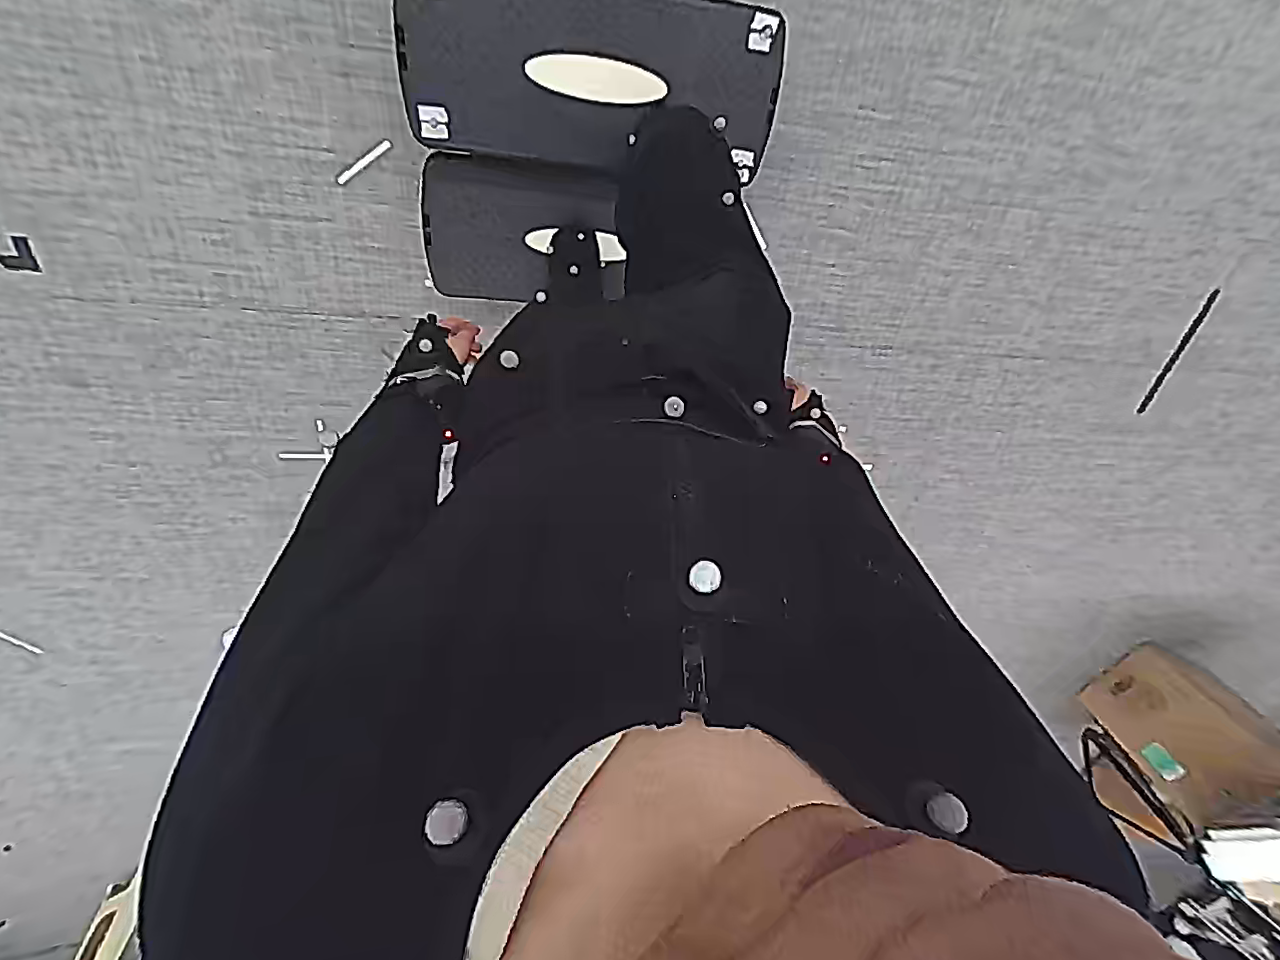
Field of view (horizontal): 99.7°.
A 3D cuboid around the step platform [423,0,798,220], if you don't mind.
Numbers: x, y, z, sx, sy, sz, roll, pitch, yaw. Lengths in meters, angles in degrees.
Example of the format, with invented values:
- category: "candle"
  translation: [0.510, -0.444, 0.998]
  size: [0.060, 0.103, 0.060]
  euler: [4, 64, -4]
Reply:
- category: "step platform"
  translation: [-0.053, -0.718, 1.043]
  size: [0.684, 0.204, 0.286]
  euler: [5, 120, -13]
